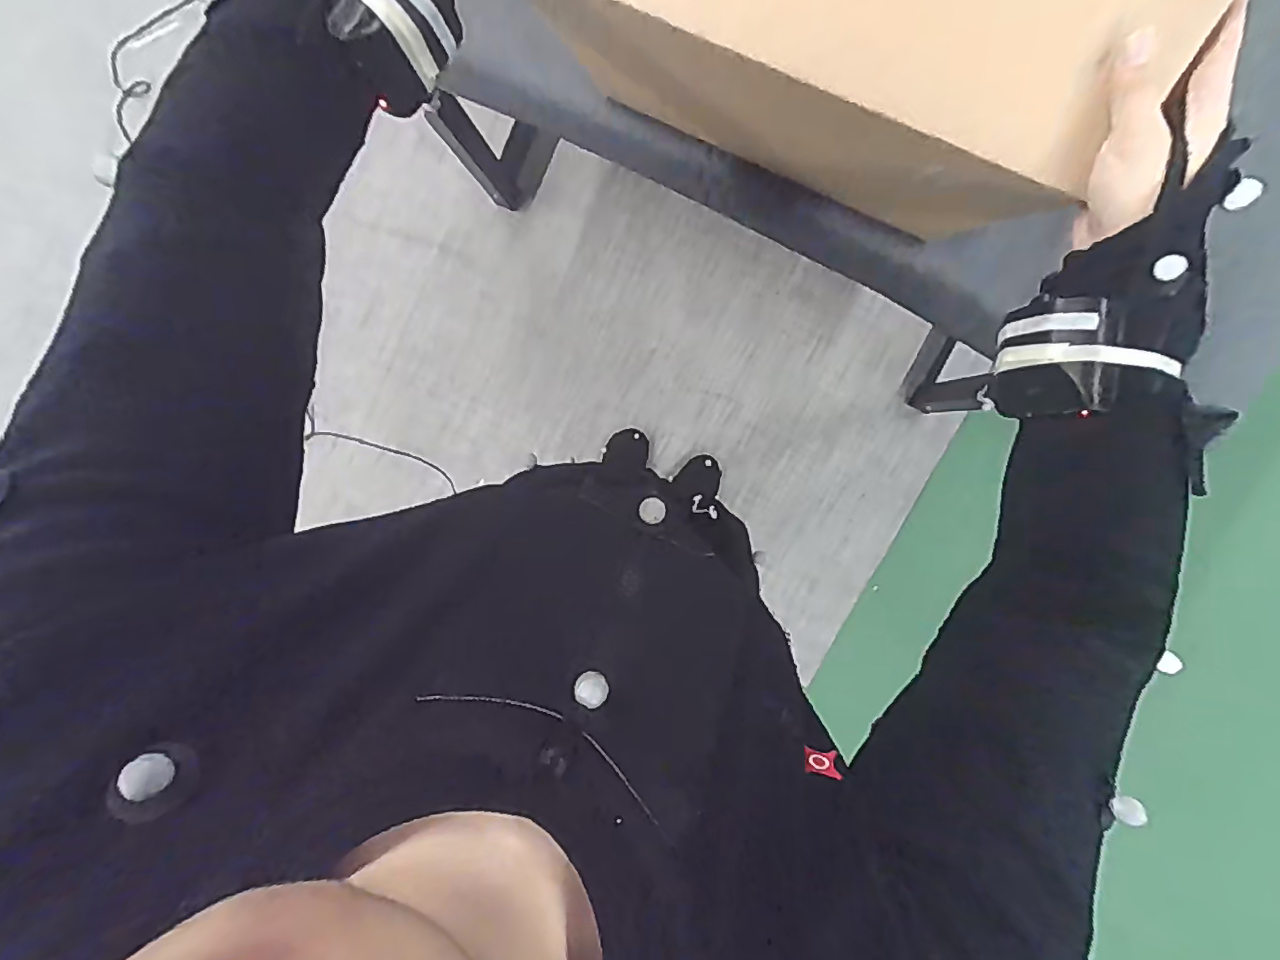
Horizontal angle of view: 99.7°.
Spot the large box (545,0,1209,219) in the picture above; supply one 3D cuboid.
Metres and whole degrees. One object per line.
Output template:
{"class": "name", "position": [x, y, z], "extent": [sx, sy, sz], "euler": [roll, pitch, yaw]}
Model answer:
{"class": "large box", "position": [0.166, -0.437, 0.400], "extent": [0.408, 0.320, 0.320], "euler": [24, 113, 1]}
